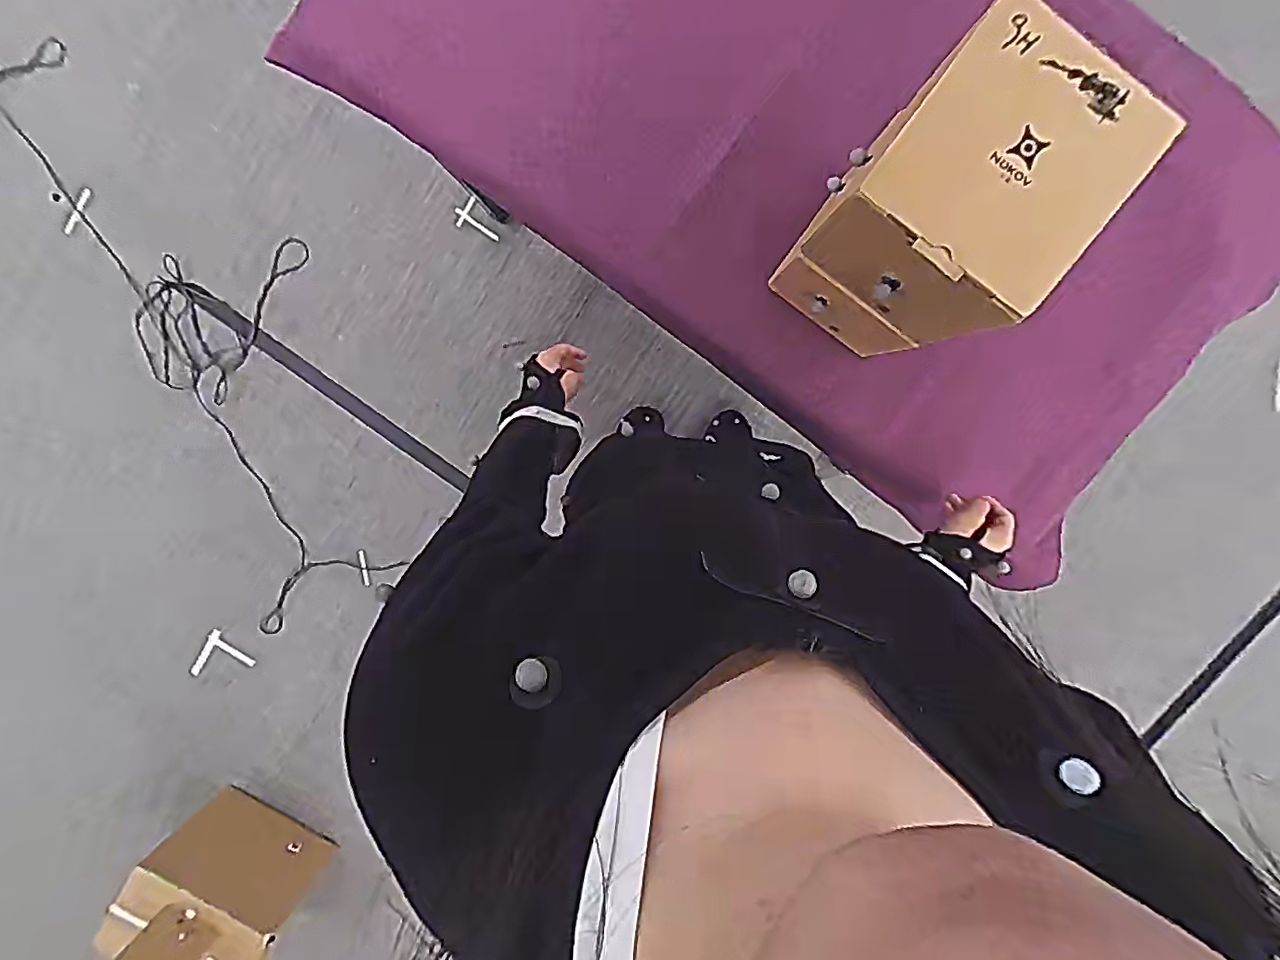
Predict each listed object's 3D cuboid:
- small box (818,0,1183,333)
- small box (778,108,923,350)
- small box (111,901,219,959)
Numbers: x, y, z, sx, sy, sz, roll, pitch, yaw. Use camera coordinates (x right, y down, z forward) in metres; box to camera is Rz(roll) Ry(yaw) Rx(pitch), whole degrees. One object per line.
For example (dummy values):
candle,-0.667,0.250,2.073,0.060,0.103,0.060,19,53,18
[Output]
small box,0.281,-0.251,0.476,0.168,0.176,0.179,37,98,-3
small box,0.283,-0.272,0.639,0.168,0.176,0.179,36,98,-3
small box,-1.225,1.235,1.367,0.168,0.176,0.179,32,98,-3
